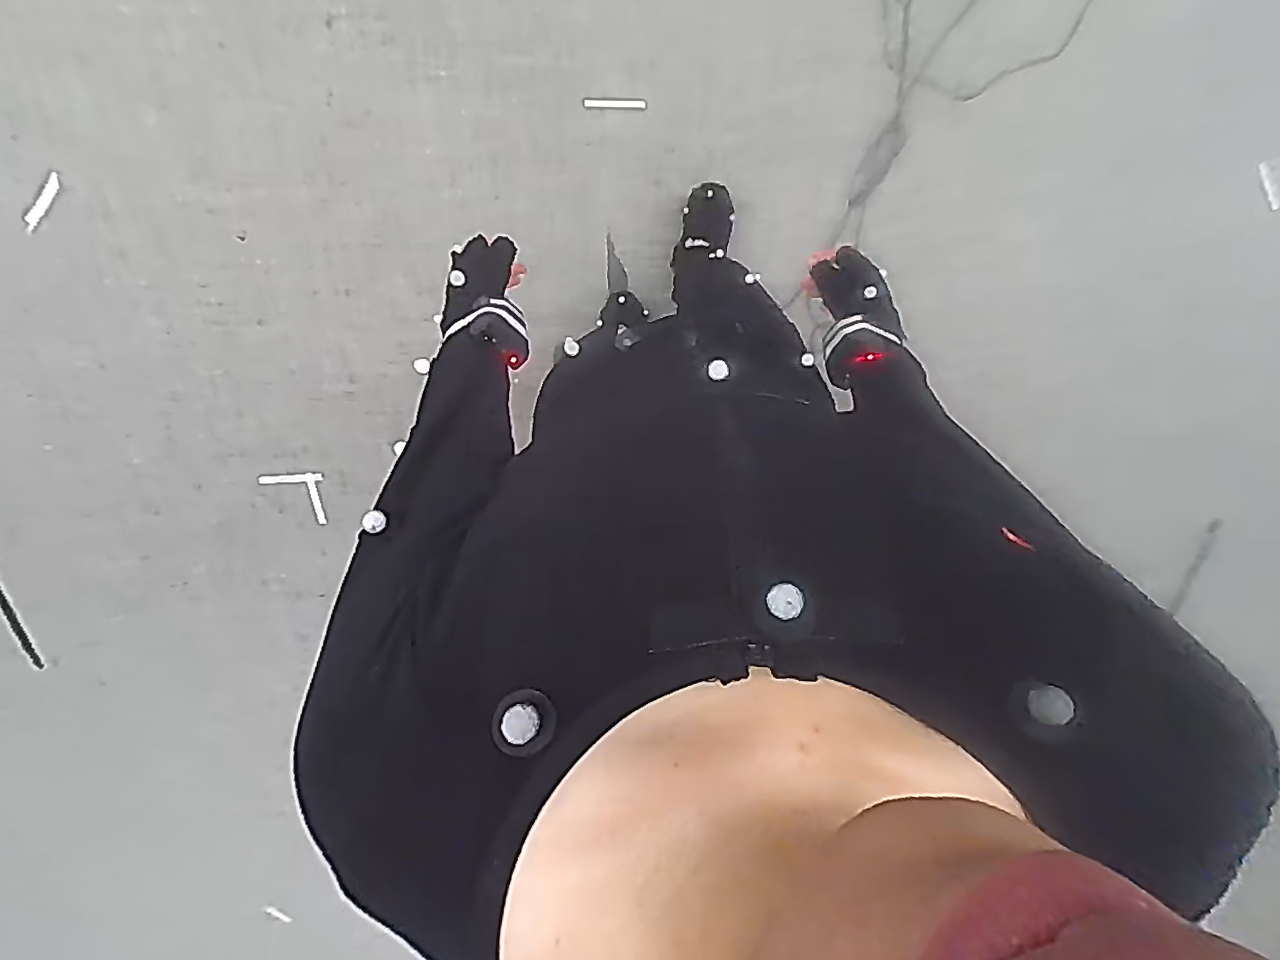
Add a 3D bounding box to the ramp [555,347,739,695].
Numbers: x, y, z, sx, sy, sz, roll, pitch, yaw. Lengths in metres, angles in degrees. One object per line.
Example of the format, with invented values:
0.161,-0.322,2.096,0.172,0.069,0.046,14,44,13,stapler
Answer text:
0.029,0.144,1.516,0.509,0.206,0.991,-3,112,0,ramp
